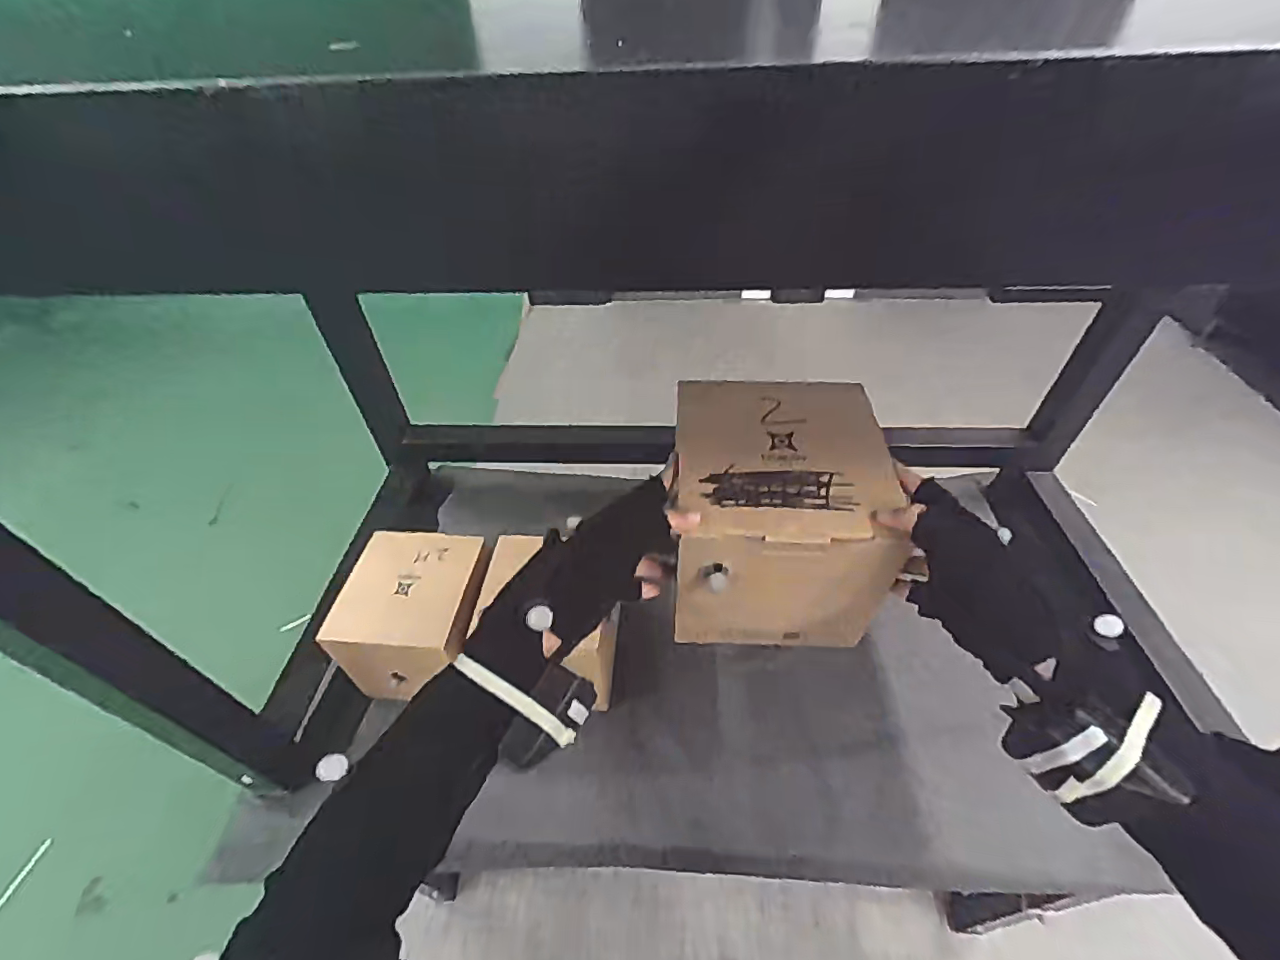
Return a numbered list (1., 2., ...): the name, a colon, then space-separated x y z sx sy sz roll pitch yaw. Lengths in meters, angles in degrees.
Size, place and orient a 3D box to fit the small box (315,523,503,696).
1. small box: -0.306 0.184 0.764 0.168 0.176 0.179 4 45 5
